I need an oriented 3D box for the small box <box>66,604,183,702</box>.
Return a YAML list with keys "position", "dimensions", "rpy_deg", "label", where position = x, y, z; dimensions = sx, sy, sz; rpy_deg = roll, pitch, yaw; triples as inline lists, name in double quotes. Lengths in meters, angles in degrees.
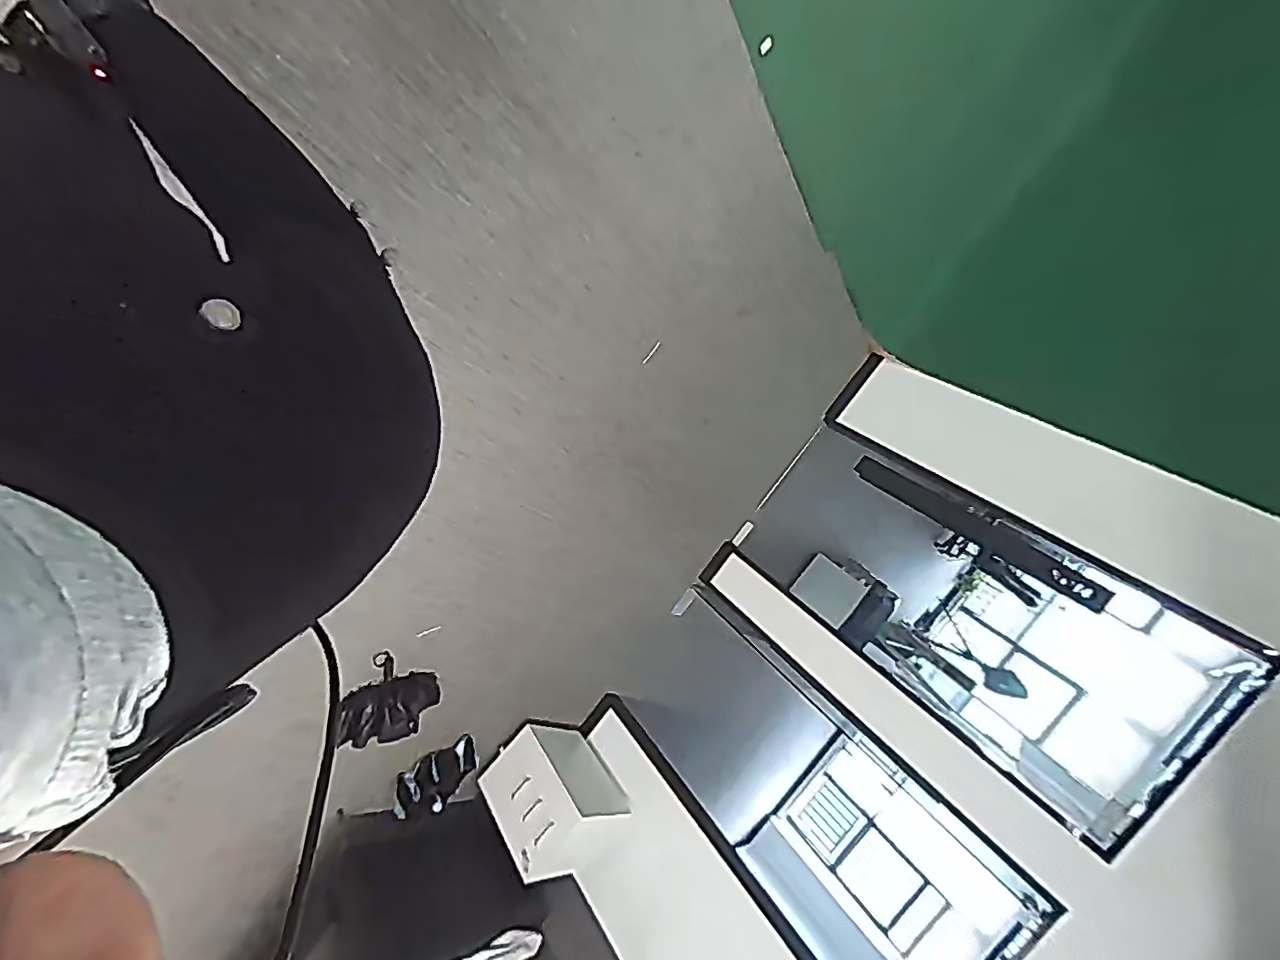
- position: [-1.322, 0.442, 1.387]
  dimensions: [0.179, 0.176, 0.168]
  rpy_deg: [-55, 141, 4]
  label: "small box"
